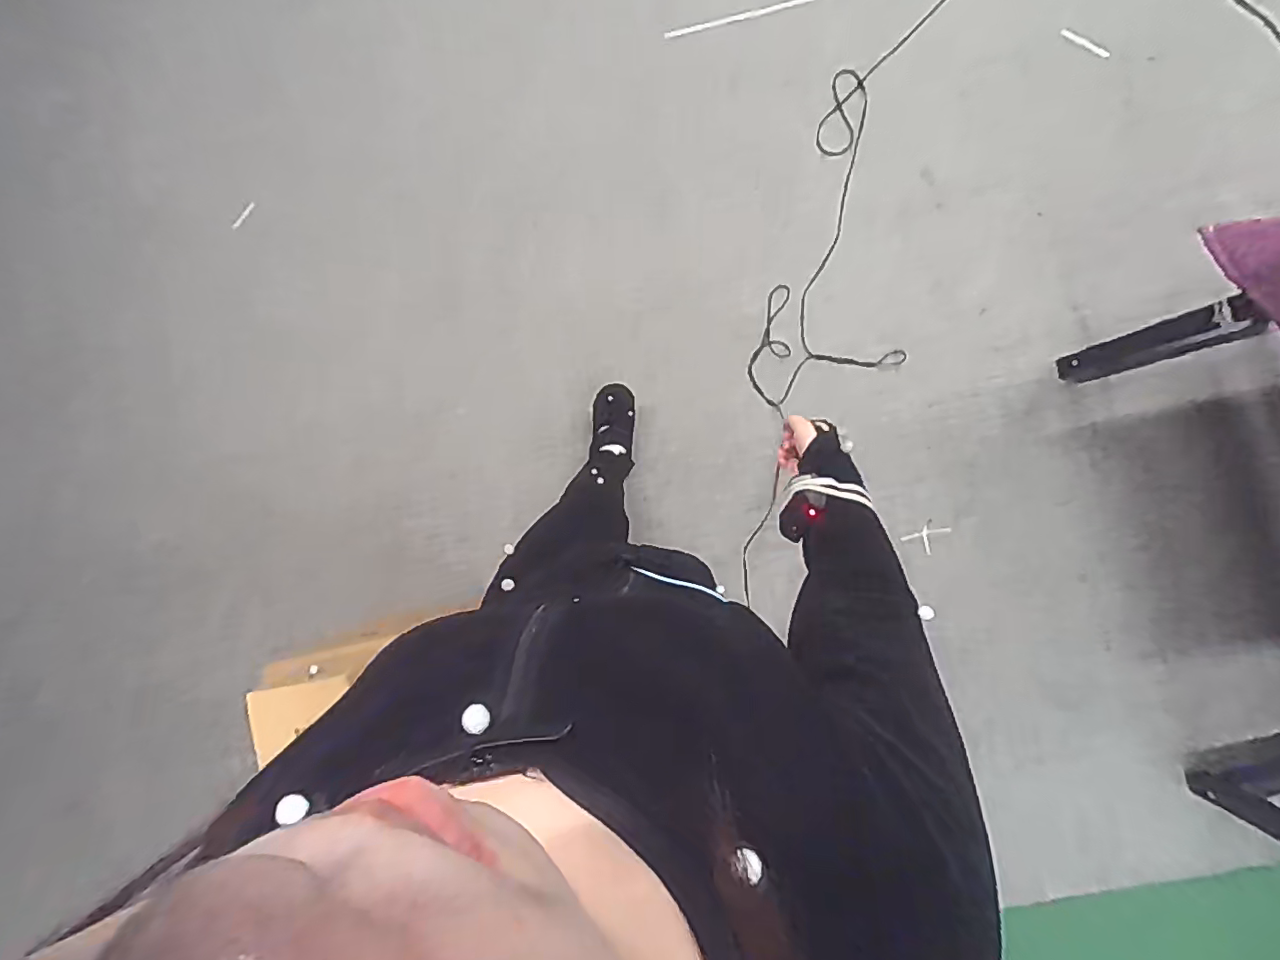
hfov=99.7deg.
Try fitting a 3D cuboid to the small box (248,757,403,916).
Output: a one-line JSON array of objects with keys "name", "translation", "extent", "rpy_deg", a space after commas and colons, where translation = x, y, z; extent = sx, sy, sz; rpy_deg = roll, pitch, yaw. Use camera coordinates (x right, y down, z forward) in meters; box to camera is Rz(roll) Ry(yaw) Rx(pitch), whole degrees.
[{"name": "small box", "translation": [-0.545, 0.621, 0.964], "extent": [0.179, 0.176, 0.168], "rpy_deg": [-11, 87, 1]}]

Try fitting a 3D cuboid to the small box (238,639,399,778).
[{"name": "small box", "translation": [-0.564, 0.399, 0.968], "extent": [0.179, 0.176, 0.168], "rpy_deg": [-10, 90, 1]}]
